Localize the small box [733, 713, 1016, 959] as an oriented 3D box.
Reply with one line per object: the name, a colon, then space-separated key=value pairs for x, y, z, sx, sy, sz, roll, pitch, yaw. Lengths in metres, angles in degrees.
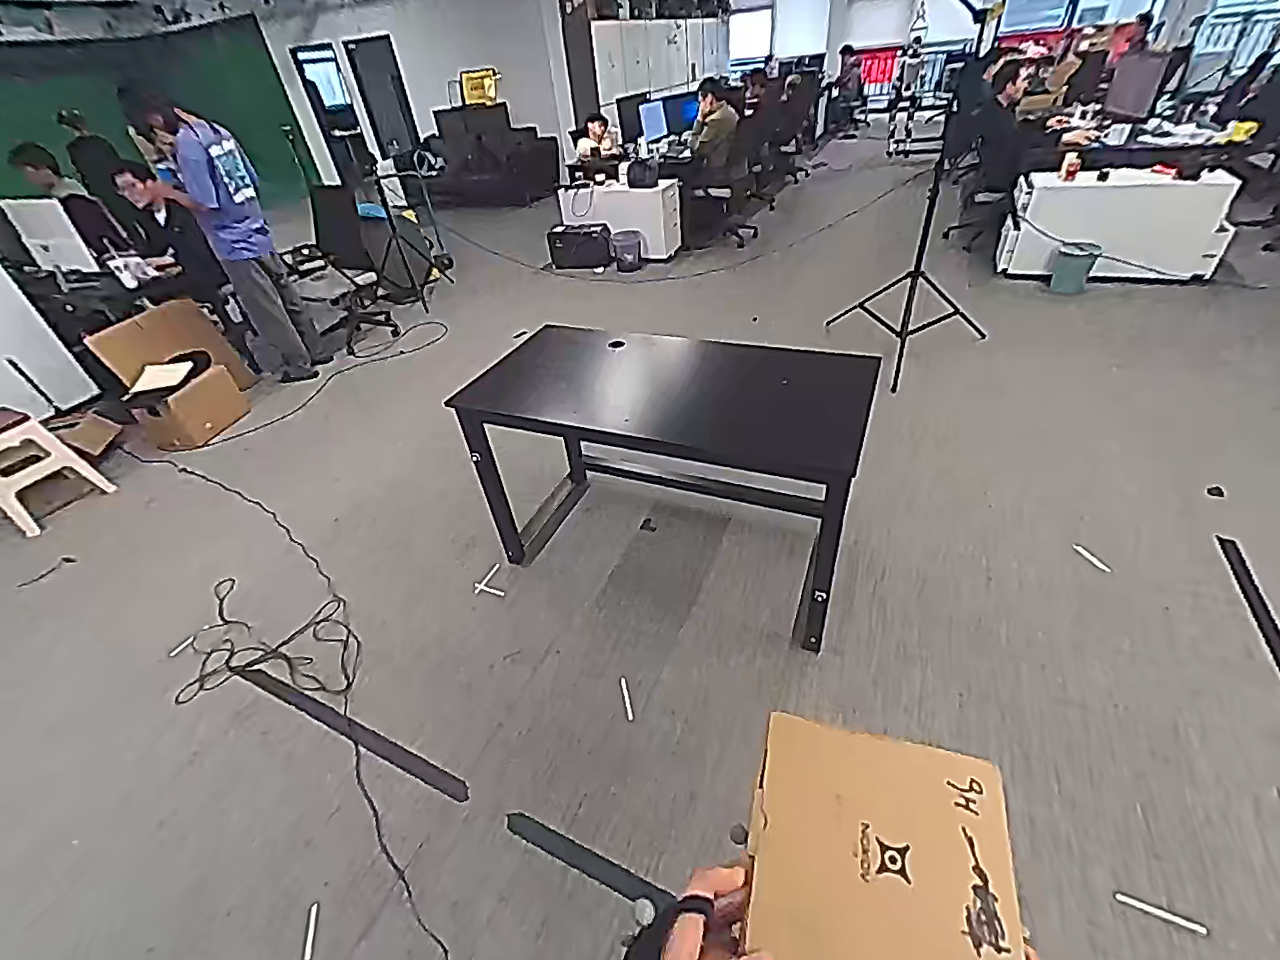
small box: x=0.174 y=0.321 z=0.446 sx=0.179 sy=0.176 sz=0.168 roll=8 pitch=50 yaw=15
